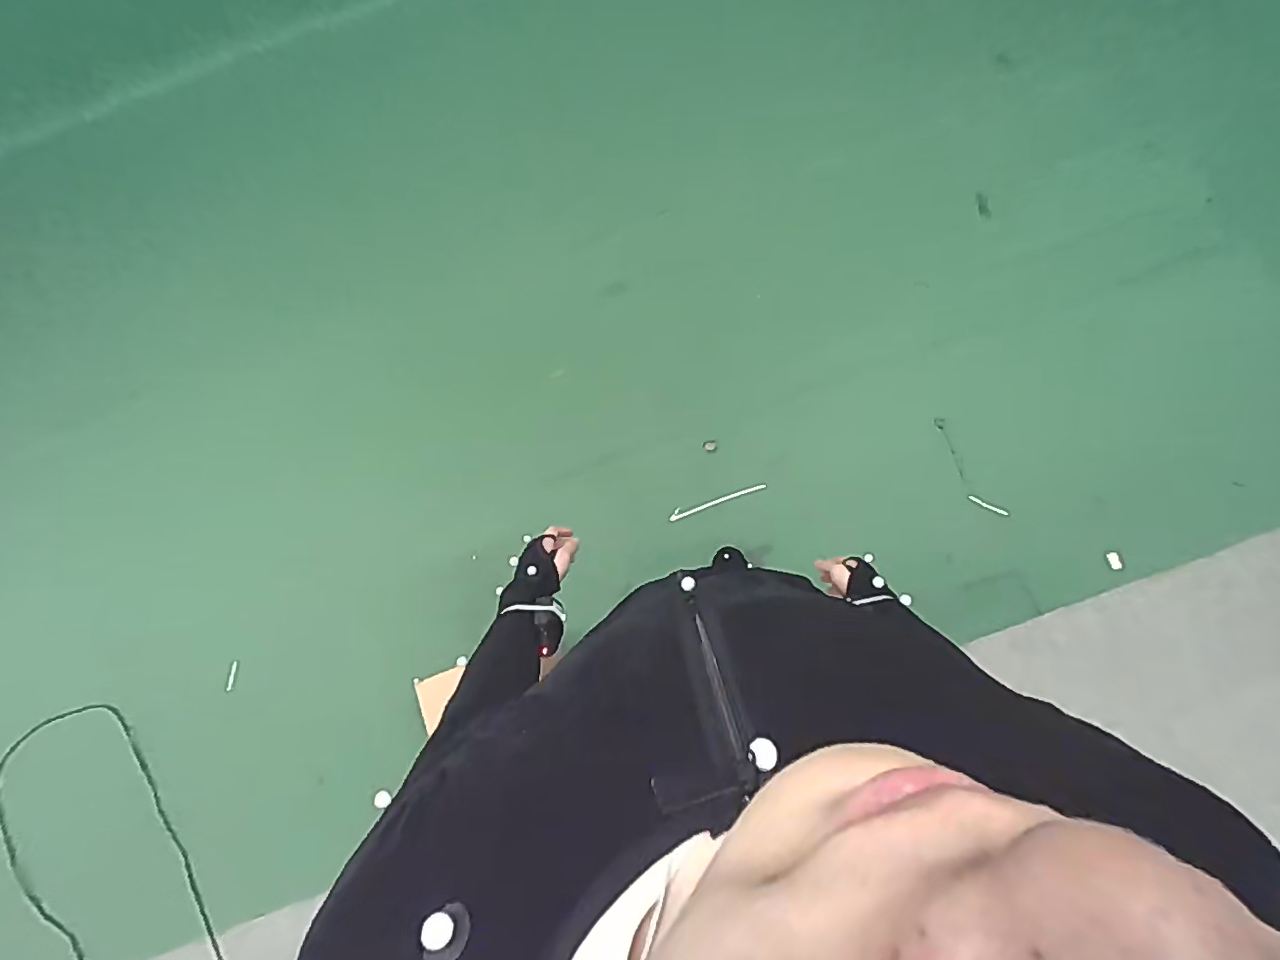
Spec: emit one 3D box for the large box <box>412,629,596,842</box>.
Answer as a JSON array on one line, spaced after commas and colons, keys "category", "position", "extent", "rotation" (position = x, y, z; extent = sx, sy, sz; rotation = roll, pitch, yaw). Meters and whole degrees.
[{"category": "large box", "position": [-0.350, 0.657, 1.466], "extent": [0.320, 0.320, 0.408], "rotation": [-22, 77, -1]}]
